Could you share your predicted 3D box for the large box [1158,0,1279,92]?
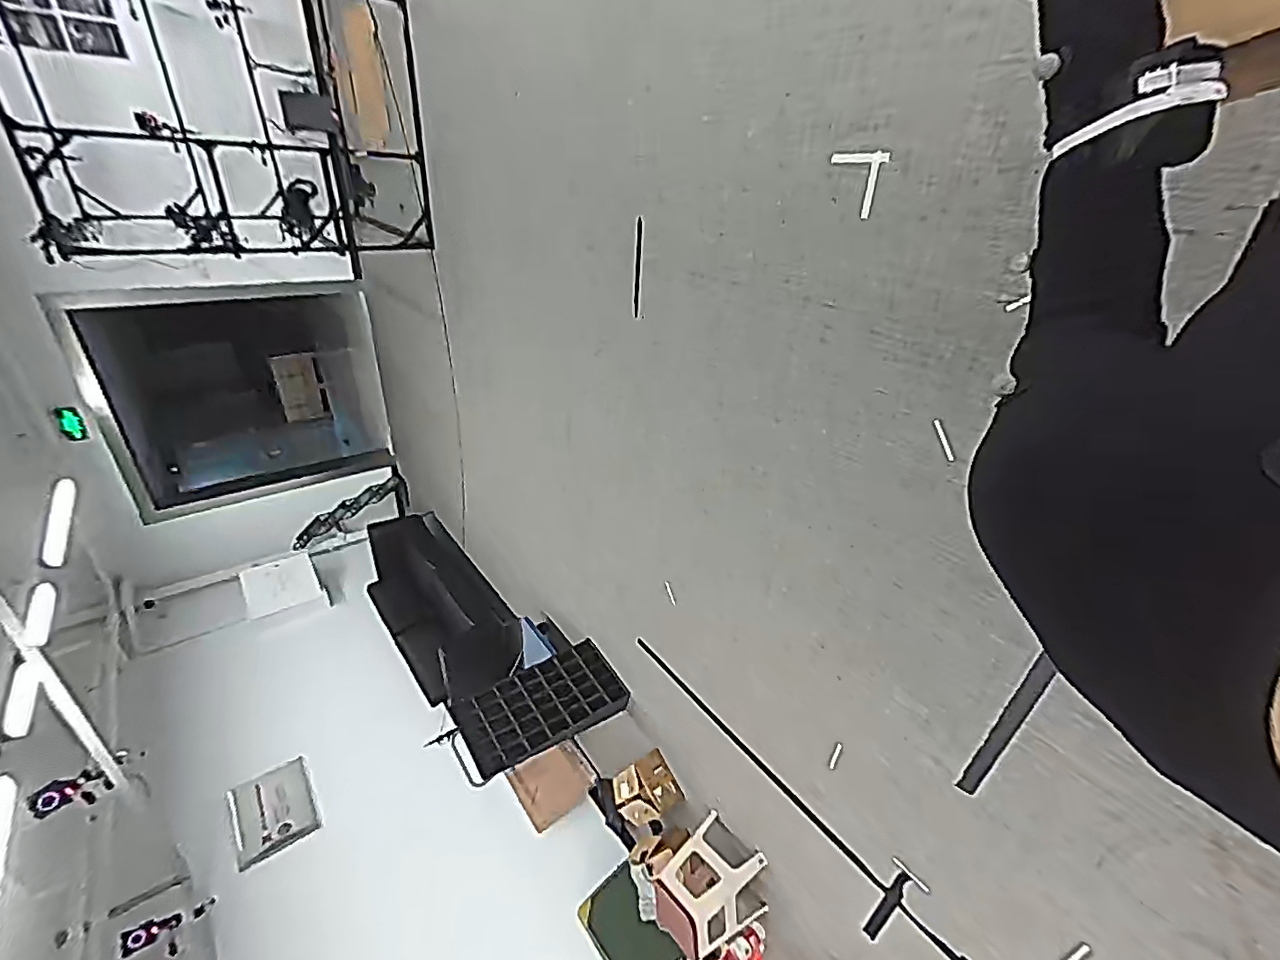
[{"bbox_3d":[0.559,-0.479,0.274,0.408,0.320,0.320,5,113,51],"label":"large box"}]
